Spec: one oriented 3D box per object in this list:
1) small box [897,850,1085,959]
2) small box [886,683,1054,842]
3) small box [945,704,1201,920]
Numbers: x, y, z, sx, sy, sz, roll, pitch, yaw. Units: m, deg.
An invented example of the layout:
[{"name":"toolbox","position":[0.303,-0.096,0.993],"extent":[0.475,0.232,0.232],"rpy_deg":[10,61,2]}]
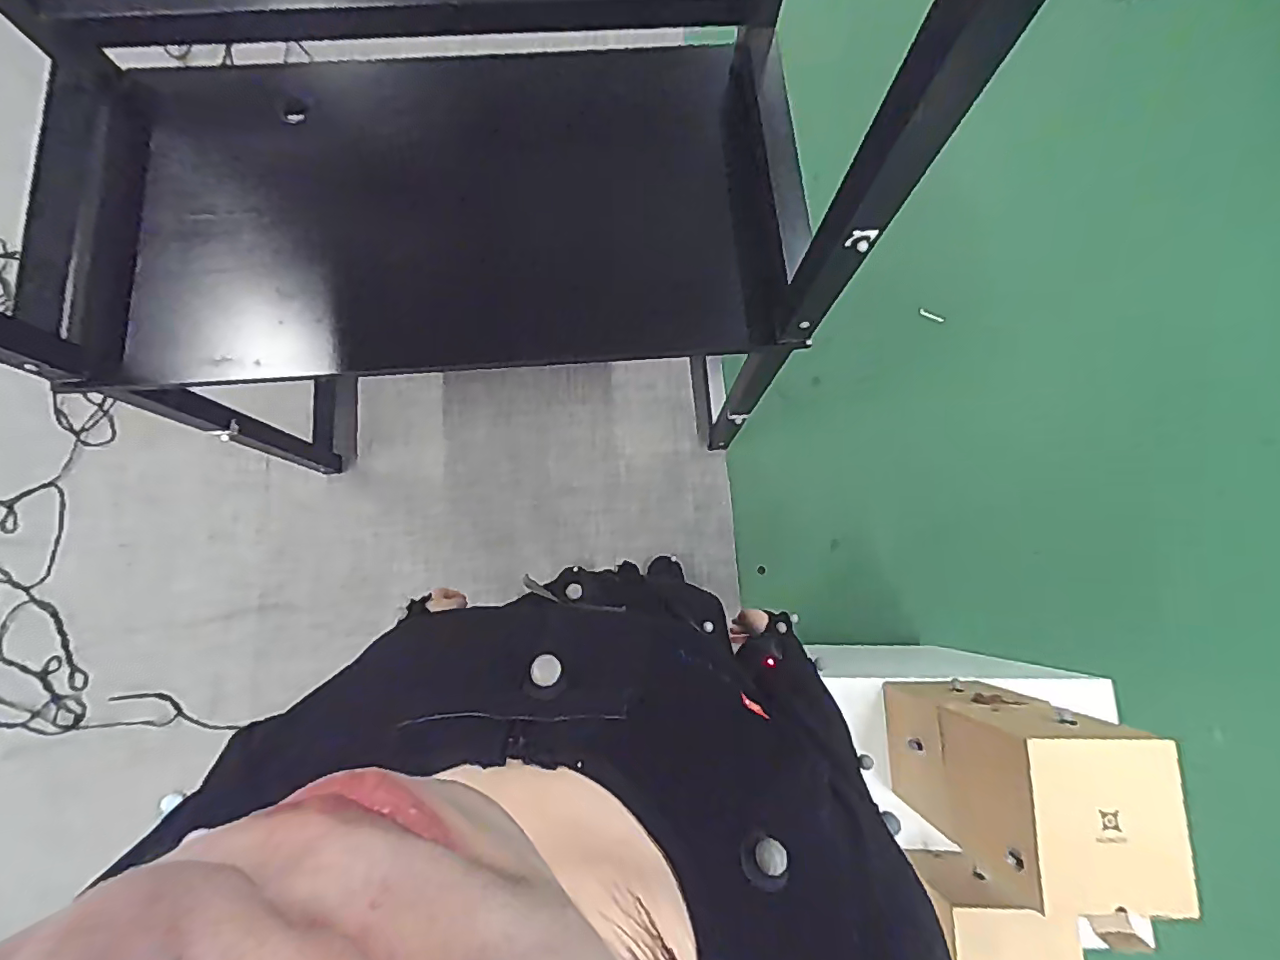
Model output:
[{"name":"small box","position":[0.477,0.649,0.754],"extent":[0.168,0.176,0.179],"rpy_deg":[3,79,1]},{"name":"small box","position":[0.486,0.404,0.804],"extent":[0.168,0.176,0.179],"rpy_deg":[-1,80,-1]},{"name":"small box","position":[0.490,0.375,0.643],"extent":[0.168,0.176,0.179],"rpy_deg":[1,81,-1]}]
